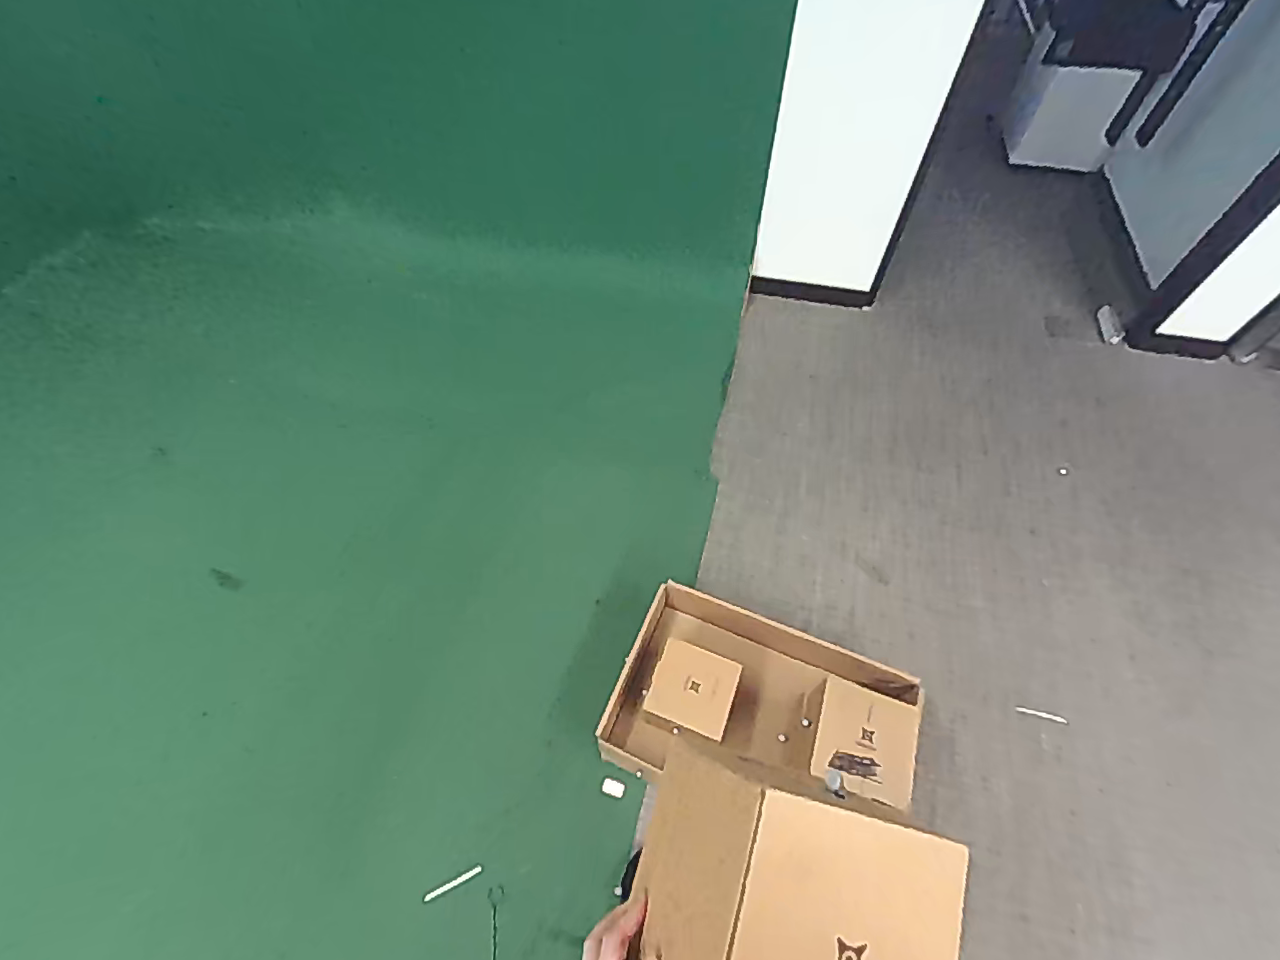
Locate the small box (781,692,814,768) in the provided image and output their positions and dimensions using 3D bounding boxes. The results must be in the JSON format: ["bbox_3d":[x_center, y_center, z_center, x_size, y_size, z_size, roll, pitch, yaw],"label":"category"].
[{"bbox_3d":[0.403,0.579,1.146,0.168,0.176,0.179,15,59,12],"label":"small box"}]

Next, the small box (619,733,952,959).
[{"bbox_3d":[0.097,0.317,0.414,0.168,0.176,0.179,23,73,-10],"label":"small box"}]

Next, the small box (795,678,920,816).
[{"bbox_3d":[0.395,0.500,1.001,0.168,0.176,0.179,16,58,13],"label":"small box"}]
